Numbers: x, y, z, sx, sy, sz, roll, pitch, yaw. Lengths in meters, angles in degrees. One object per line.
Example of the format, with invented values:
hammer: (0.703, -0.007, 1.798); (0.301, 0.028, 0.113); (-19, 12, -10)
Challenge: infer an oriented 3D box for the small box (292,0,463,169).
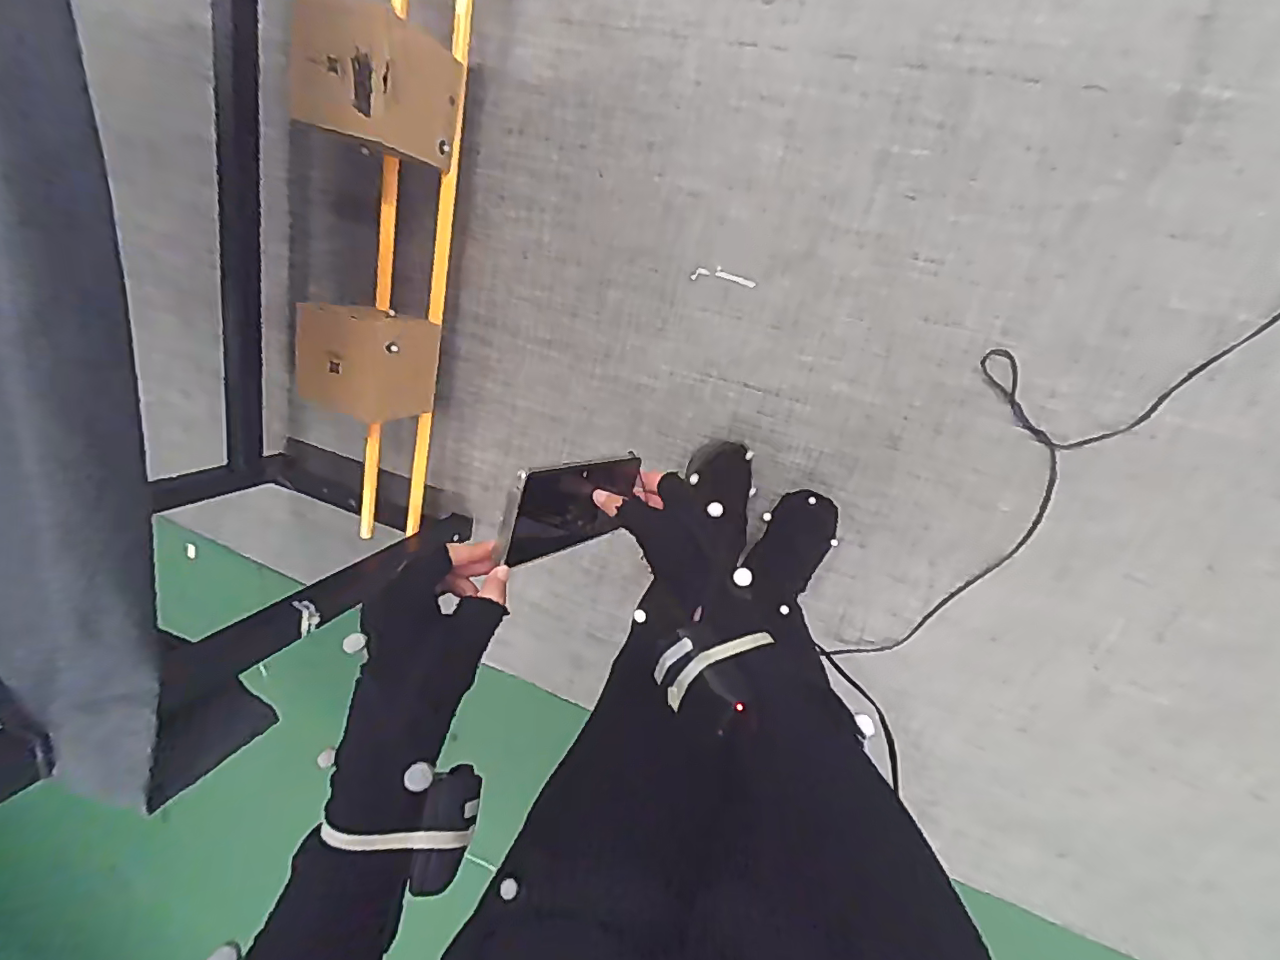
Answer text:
small box: (-0.408, -0.615, 0.856); (0.179, 0.176, 0.168); (21, 109, 12)
